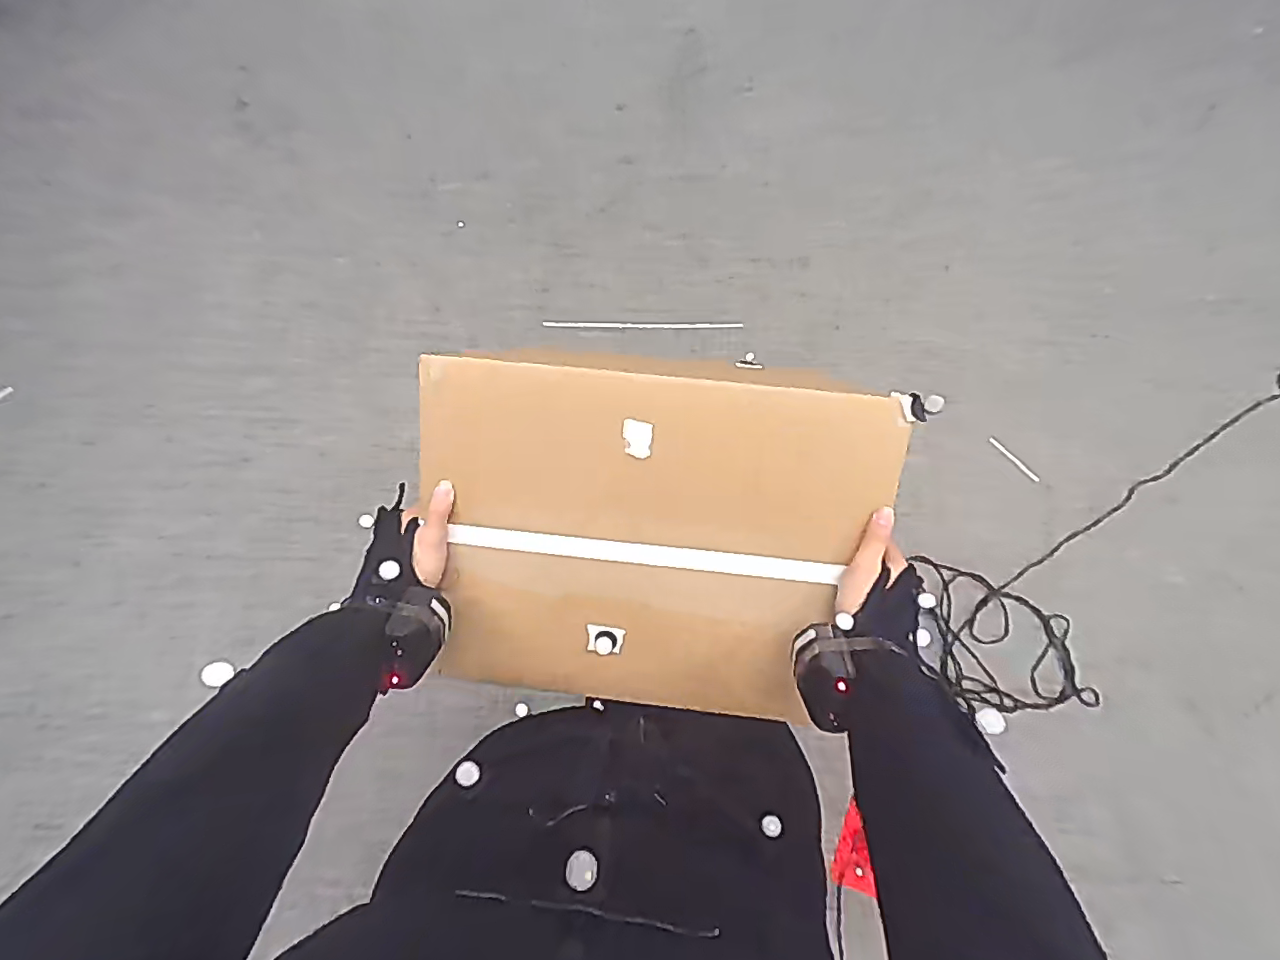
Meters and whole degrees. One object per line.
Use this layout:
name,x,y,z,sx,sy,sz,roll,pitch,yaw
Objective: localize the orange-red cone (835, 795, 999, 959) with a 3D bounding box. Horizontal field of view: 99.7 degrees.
orange-red cone,0.507,0.732,0.915,0.199,0.360,0.198,21,82,4
